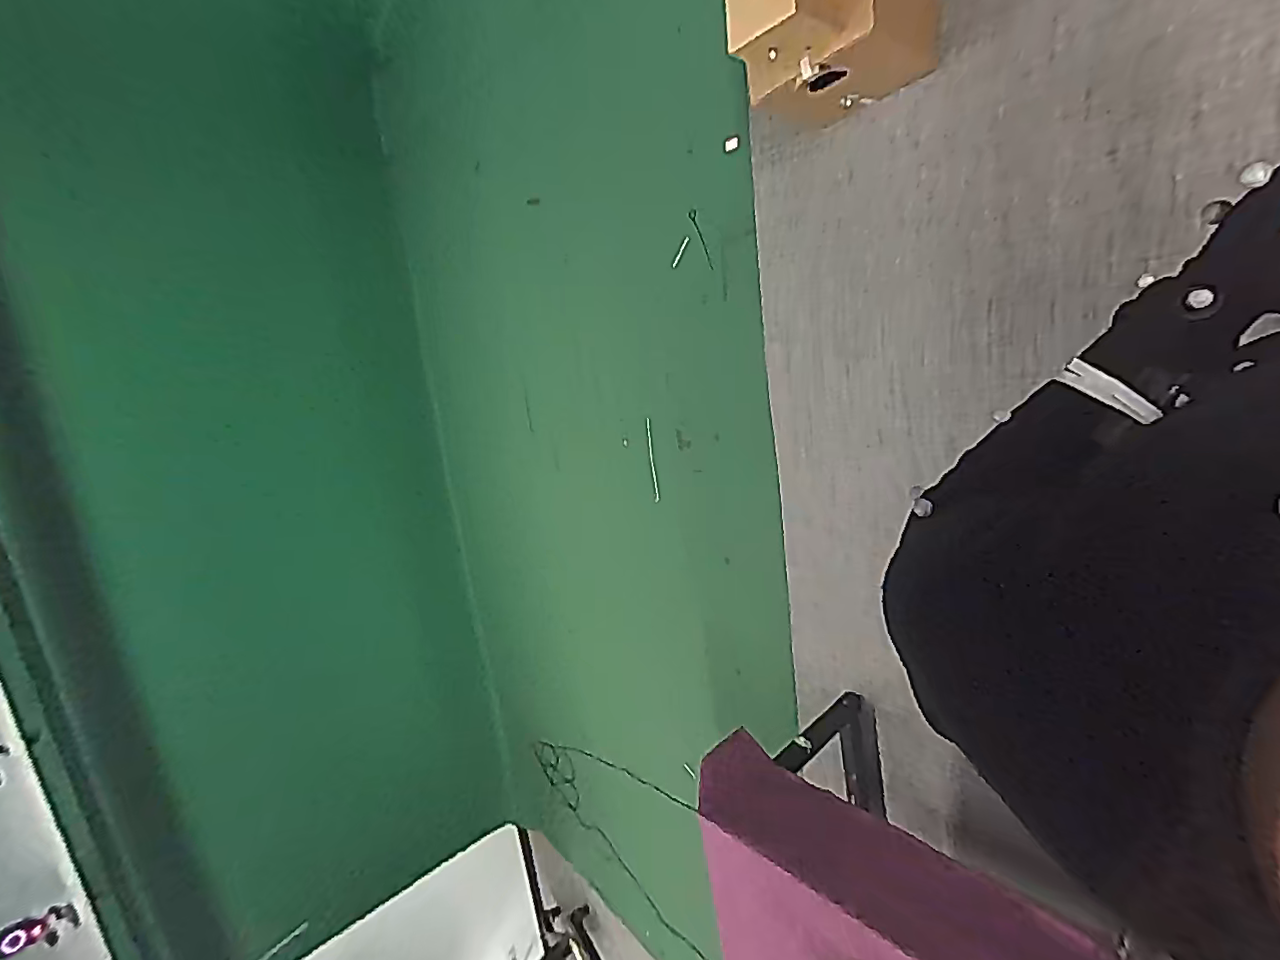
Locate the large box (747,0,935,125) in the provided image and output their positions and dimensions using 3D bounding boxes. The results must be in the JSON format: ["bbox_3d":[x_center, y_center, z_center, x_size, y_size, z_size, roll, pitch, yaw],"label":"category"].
[{"bbox_3d":[0.454,-1.132,1.254,0.320,0.320,0.408,4,105,50],"label":"large box"}]

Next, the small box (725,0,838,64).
[{"bbox_3d":[0.290,-0.993,1.106,0.168,0.176,0.179,9,108,48],"label":"small box"}]
